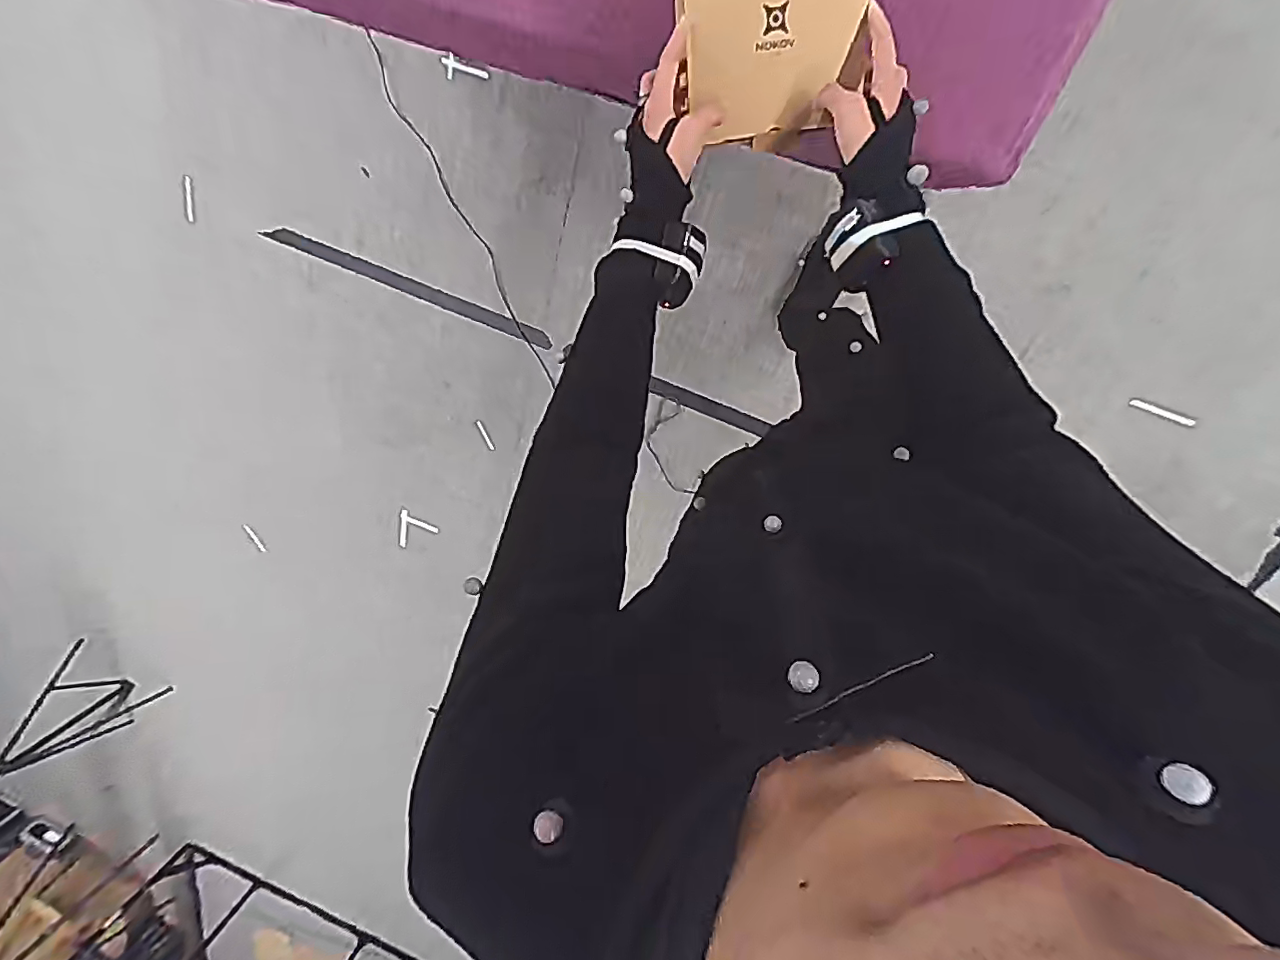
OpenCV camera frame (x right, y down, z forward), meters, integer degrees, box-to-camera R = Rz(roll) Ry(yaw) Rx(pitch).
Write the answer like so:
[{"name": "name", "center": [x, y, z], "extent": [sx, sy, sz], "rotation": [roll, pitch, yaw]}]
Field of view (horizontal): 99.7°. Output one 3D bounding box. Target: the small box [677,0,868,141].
[{"name": "small box", "center": [0.126, -0.463, 0.557], "extent": [0.168, 0.176, 0.179], "rotation": [-5, 122, 4]}]
